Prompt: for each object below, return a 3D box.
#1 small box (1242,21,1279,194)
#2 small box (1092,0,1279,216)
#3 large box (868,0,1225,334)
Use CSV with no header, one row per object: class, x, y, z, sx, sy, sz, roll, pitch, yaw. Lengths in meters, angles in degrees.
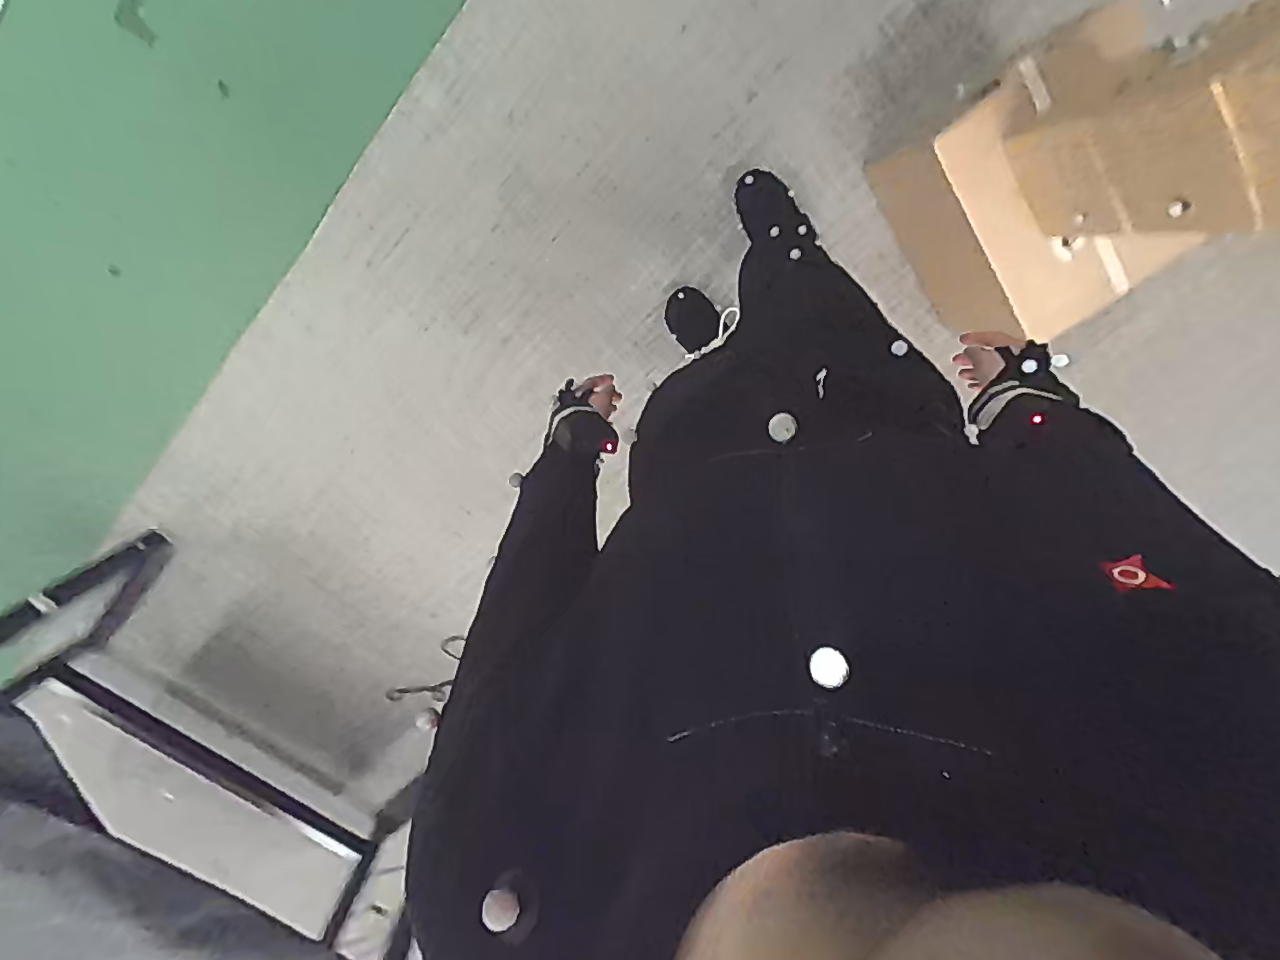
small box,0.669,-0.355,0.440,0.168,0.176,0.179,-37,108,15
small box,0.663,-0.416,0.591,0.168,0.176,0.179,-39,106,15
large box,0.695,-0.539,0.980,0.320,0.320,0.408,-36,108,17
